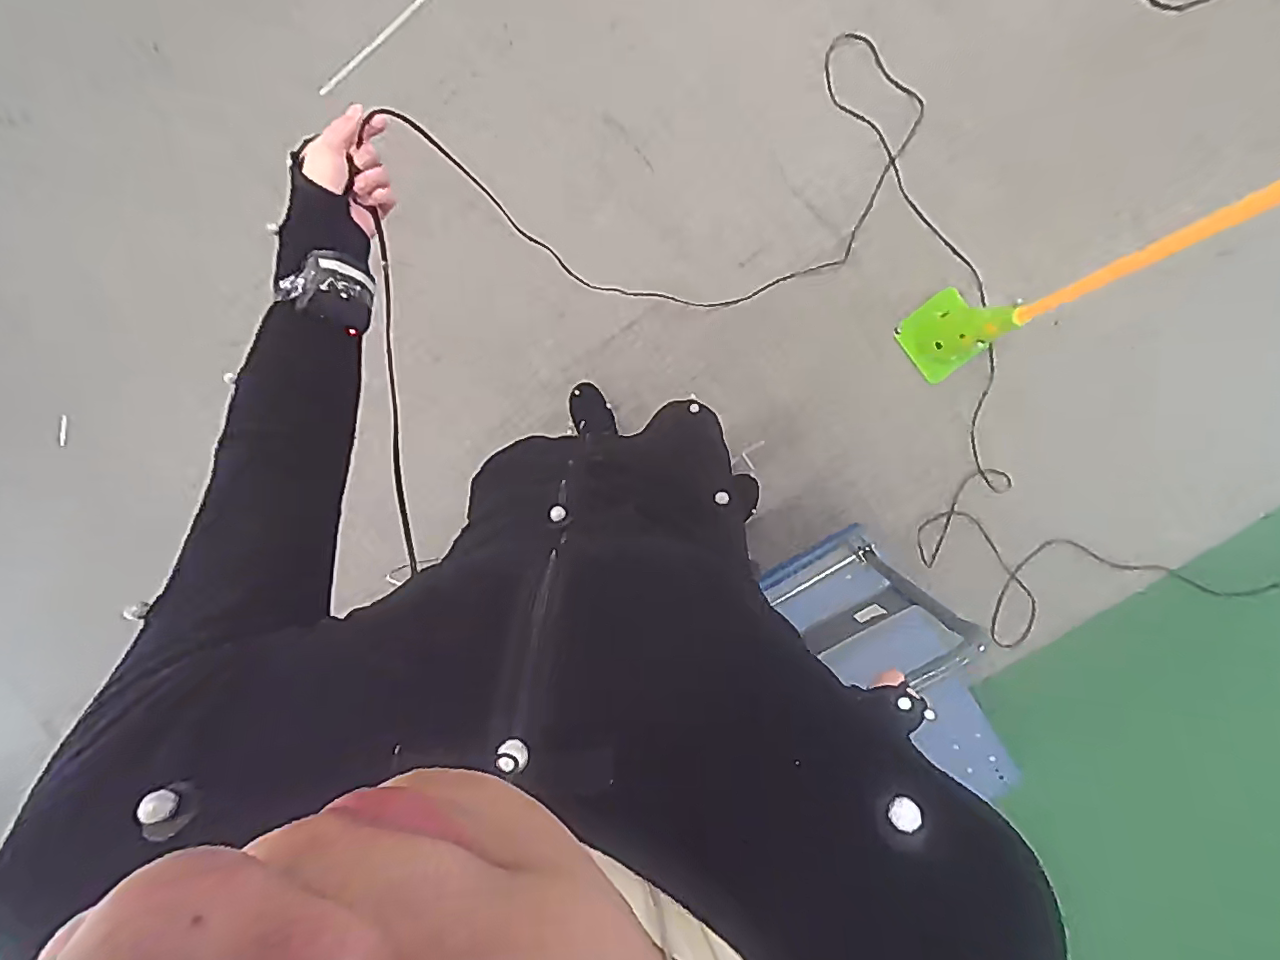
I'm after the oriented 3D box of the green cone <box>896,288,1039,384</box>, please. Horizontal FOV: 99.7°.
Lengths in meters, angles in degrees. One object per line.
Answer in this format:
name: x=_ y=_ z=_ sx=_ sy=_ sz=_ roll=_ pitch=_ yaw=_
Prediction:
green cone: x=0.828 y=-0.371 z=1.317 sx=0.202 sy=0.368 sz=0.200 roll=-39 pitch=95 yaw=7
